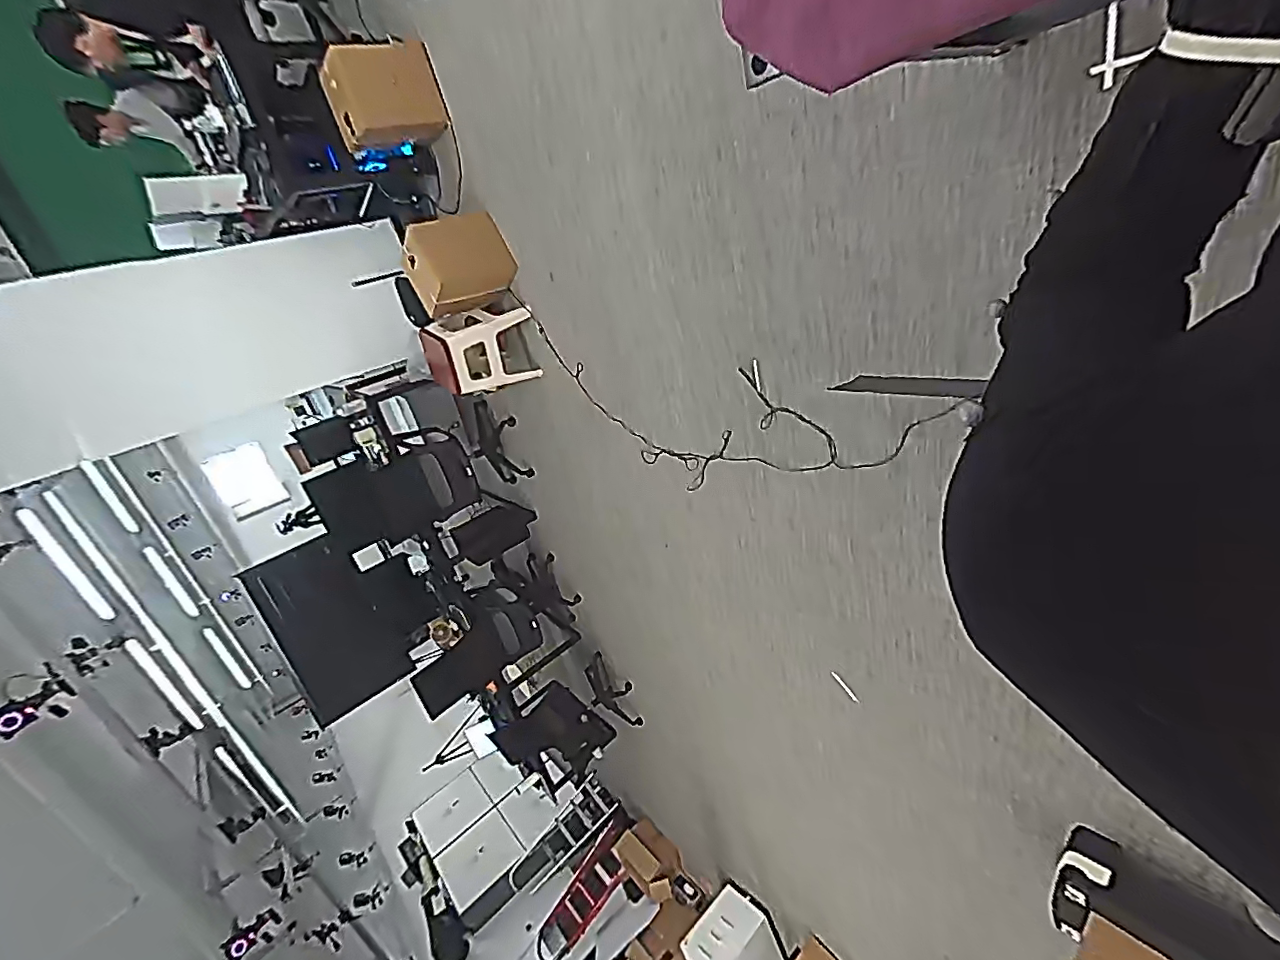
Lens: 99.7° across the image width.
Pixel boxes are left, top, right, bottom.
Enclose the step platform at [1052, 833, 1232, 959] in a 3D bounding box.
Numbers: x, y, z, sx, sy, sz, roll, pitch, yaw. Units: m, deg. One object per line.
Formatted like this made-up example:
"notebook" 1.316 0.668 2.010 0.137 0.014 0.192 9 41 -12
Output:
"step platform" 1.518 1.298 1.430 0.684 0.204 0.286 14 128 48
